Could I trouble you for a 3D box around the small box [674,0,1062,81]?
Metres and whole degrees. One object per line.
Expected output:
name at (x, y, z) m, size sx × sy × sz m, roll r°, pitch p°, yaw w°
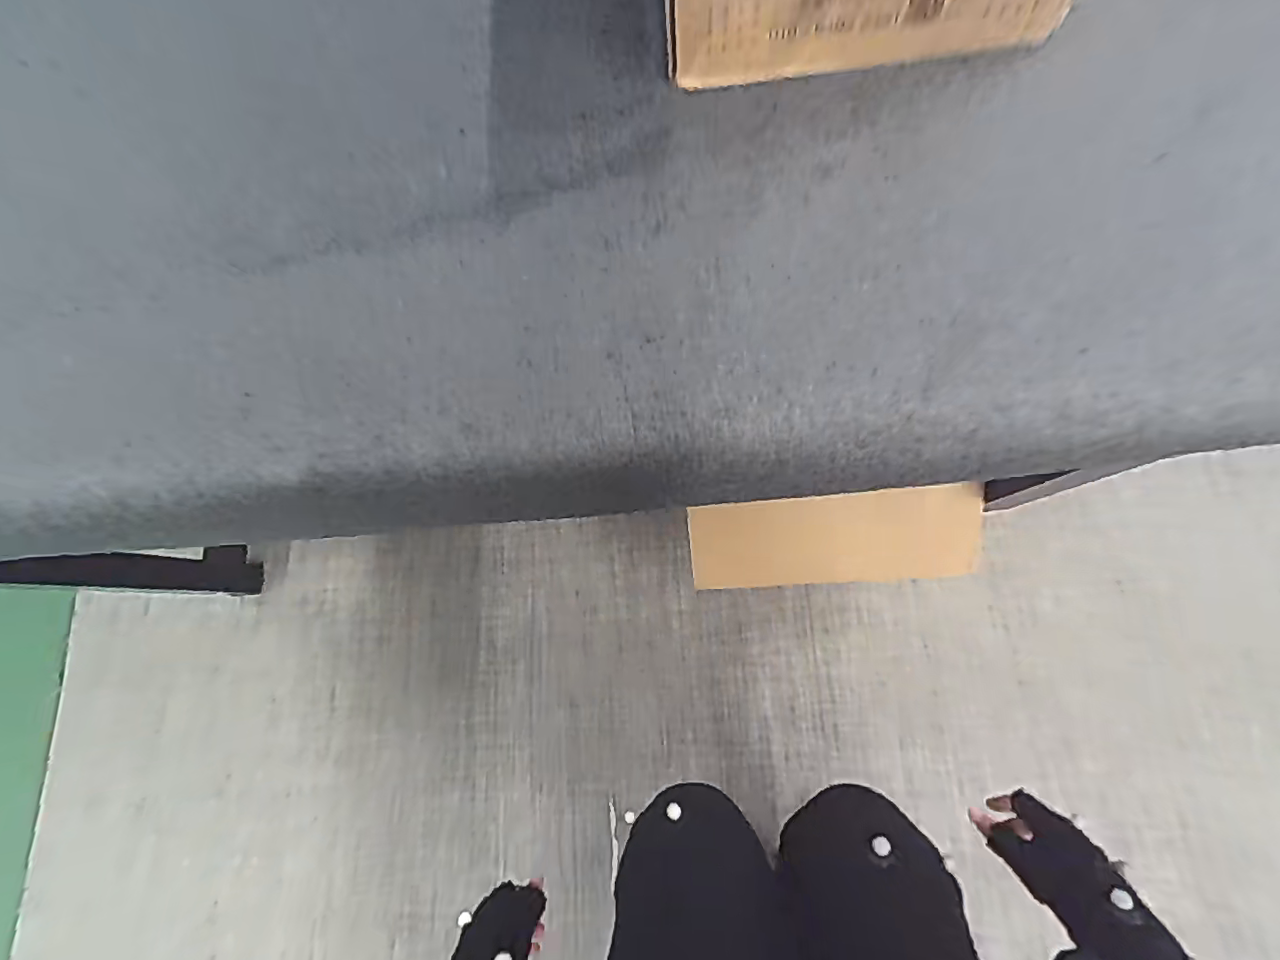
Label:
small box at (0.088, -0.288, 0.186) m, size 0.168 × 0.176 × 0.179 m, roll -4°, pitch 77°, yaw 5°
